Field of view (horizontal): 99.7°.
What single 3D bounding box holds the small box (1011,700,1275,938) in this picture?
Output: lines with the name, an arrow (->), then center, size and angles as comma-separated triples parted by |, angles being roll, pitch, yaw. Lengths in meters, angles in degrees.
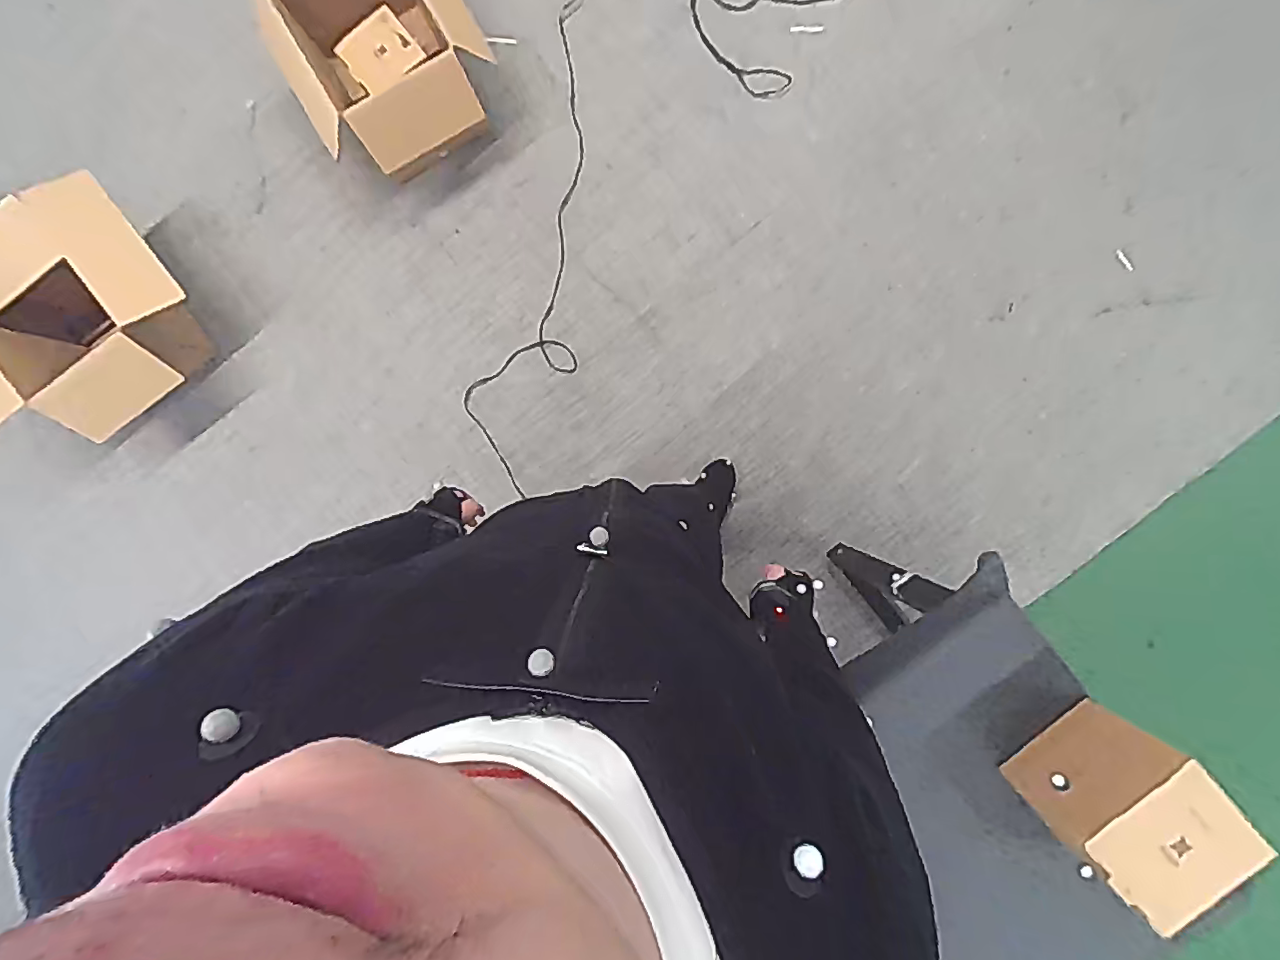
small box -> 0.657, 0.445, 0.738 | 0.179, 0.176, 0.168 | -42, 92, 2
